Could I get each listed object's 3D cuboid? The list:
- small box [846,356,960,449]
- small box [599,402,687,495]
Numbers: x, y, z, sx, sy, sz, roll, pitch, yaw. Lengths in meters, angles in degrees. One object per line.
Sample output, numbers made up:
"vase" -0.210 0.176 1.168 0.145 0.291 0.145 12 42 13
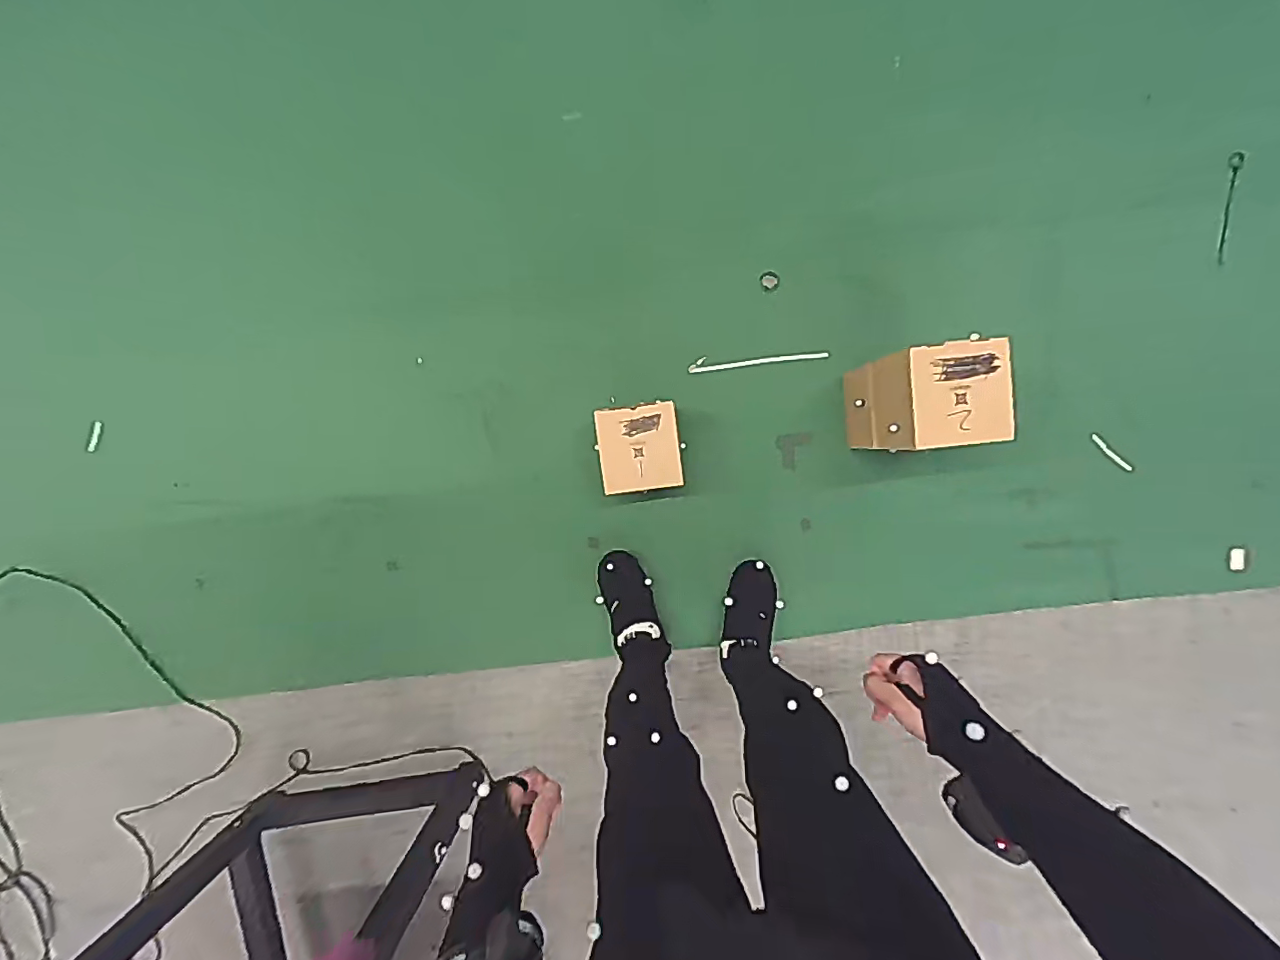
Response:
"small box" 0.548 -0.157 1.147 0.168 0.176 0.179 -5 94 3
"small box" 0.009 -0.069 1.182 0.168 0.176 0.179 -7 94 4
